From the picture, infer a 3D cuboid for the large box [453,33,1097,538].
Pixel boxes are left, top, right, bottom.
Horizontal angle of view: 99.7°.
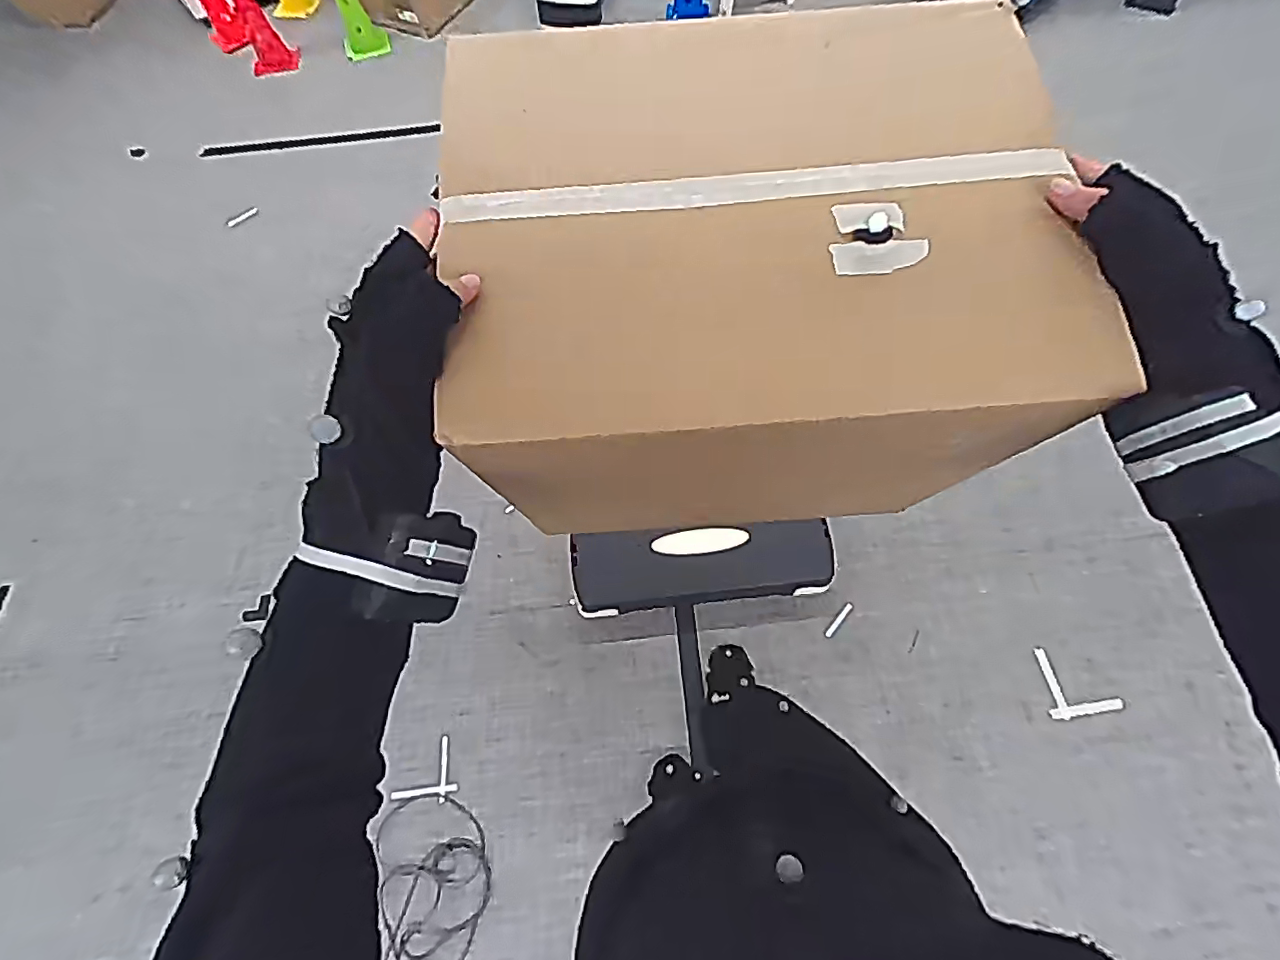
[{"bbox_3d":[0.073,-0.138,0.513,0.408,0.320,0.320,-4,74,0],"label":"large box"}]
